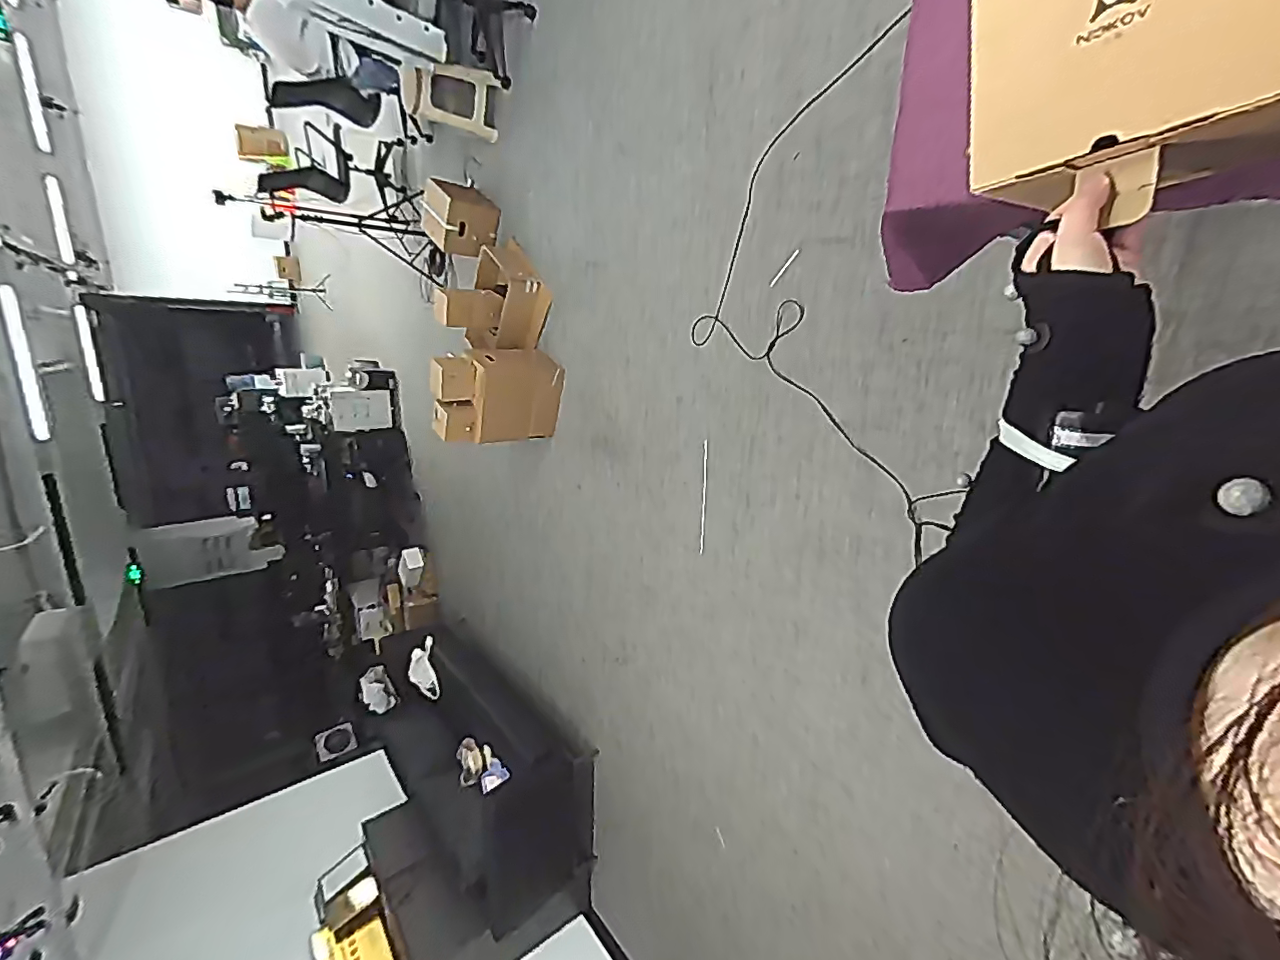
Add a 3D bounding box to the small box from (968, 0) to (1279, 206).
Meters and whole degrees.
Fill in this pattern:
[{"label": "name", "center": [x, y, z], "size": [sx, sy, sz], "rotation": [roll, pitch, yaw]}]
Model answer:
[{"label": "small box", "center": [0.370, -0.324, 0.400], "size": [0.168, 0.176, 0.179], "rotation": [9, 109, 54]}]
